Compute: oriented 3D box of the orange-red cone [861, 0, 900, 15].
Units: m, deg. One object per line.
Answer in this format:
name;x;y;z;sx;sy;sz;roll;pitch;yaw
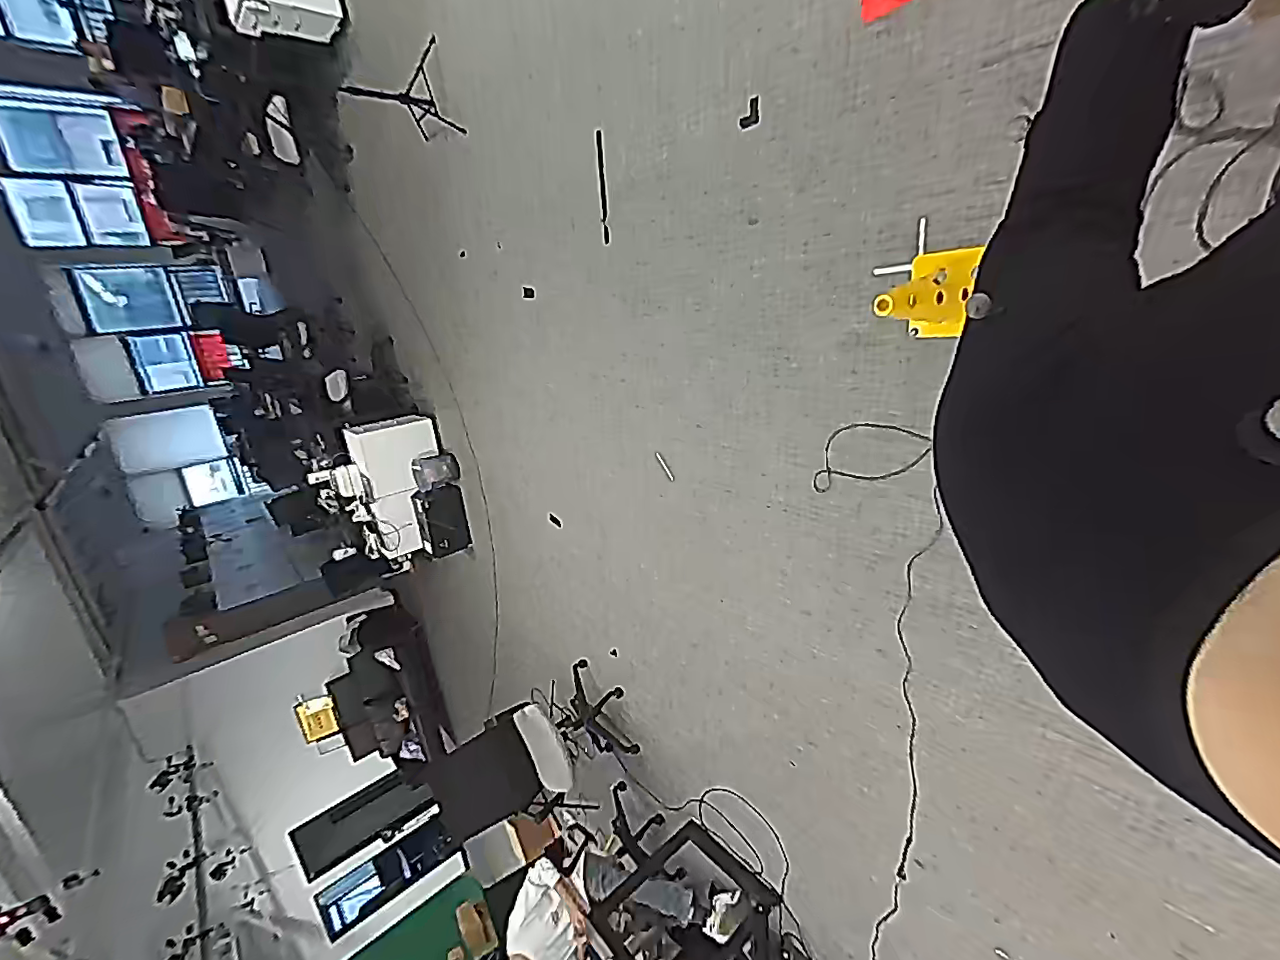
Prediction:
orange-red cone;0.450;-1.127;1.090;0.198;0.360;0.199;14;118;49
